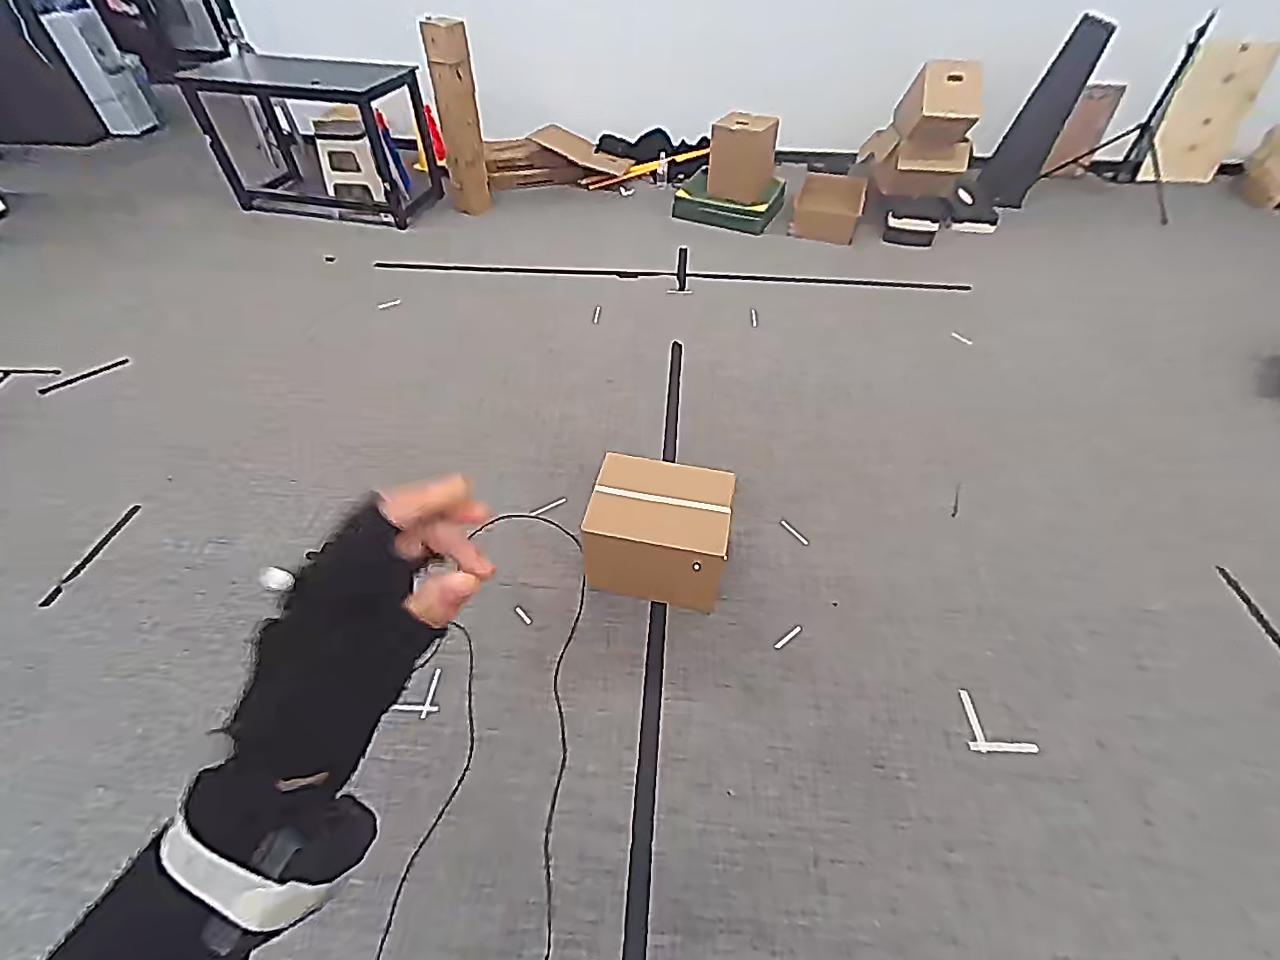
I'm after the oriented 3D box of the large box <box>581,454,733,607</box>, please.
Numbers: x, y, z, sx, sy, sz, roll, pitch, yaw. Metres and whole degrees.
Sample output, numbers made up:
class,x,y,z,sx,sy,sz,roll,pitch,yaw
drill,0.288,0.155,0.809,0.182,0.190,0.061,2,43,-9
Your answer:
class,x,y,z,sx,sy,sz,roll,pitch,yaw
large box,0.059,0.158,1.669,0.408,0.320,0.320,10,48,7
